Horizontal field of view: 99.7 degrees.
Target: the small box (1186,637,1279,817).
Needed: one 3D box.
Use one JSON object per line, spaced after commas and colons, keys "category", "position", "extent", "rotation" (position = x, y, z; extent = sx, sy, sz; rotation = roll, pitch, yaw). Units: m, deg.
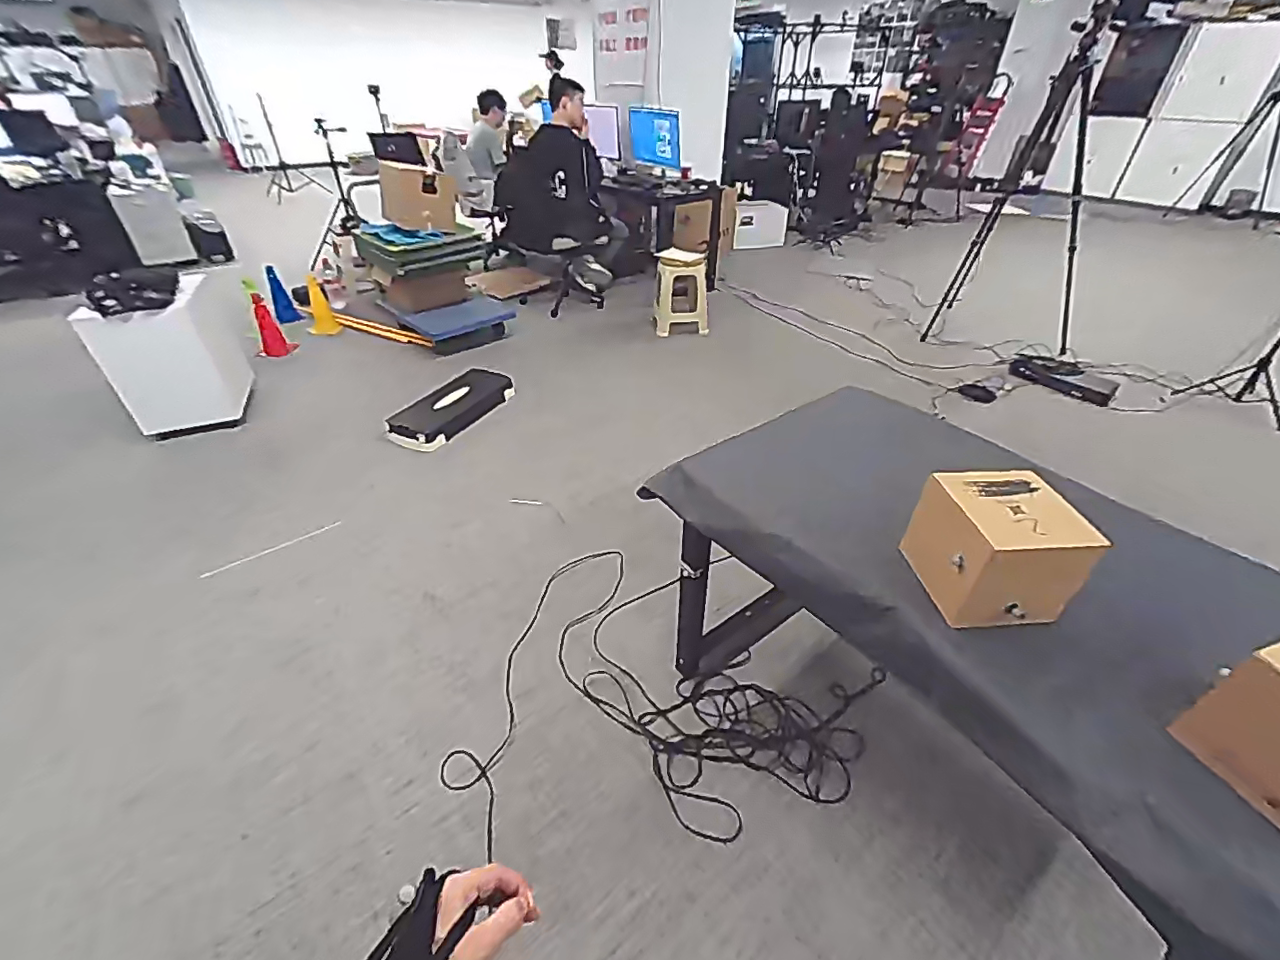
{"category": "small box", "position": [0.773, 0.277, 0.593], "extent": [0.179, 0.176, 0.168], "rotation": [-11, 38, -15]}
